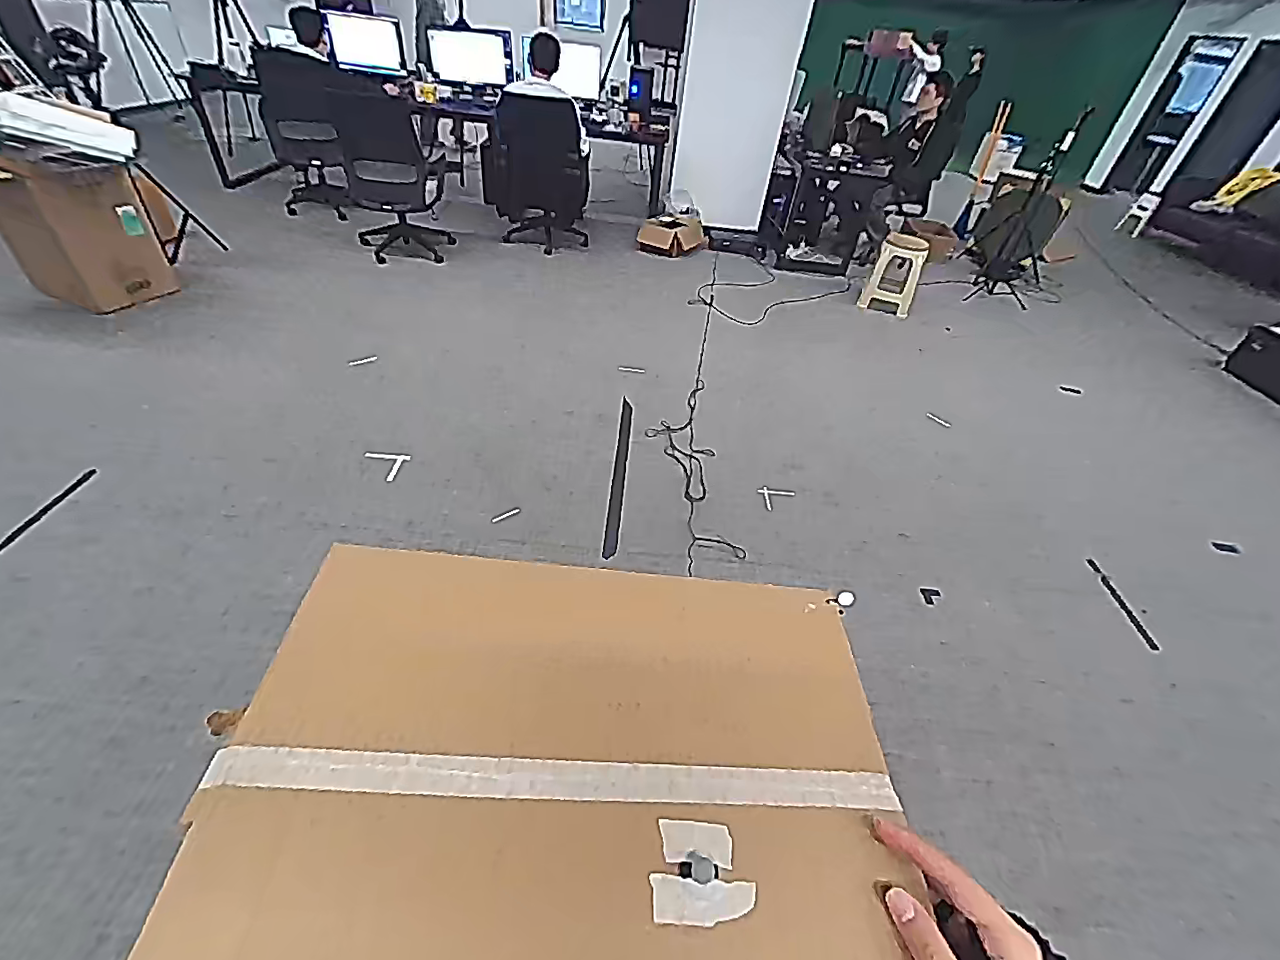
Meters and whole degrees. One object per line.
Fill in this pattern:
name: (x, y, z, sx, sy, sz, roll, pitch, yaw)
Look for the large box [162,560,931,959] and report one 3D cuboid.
large box: (-0.059, 0.294, 0.441, 0.408, 0.320, 0.320, 7, 46, -8)
